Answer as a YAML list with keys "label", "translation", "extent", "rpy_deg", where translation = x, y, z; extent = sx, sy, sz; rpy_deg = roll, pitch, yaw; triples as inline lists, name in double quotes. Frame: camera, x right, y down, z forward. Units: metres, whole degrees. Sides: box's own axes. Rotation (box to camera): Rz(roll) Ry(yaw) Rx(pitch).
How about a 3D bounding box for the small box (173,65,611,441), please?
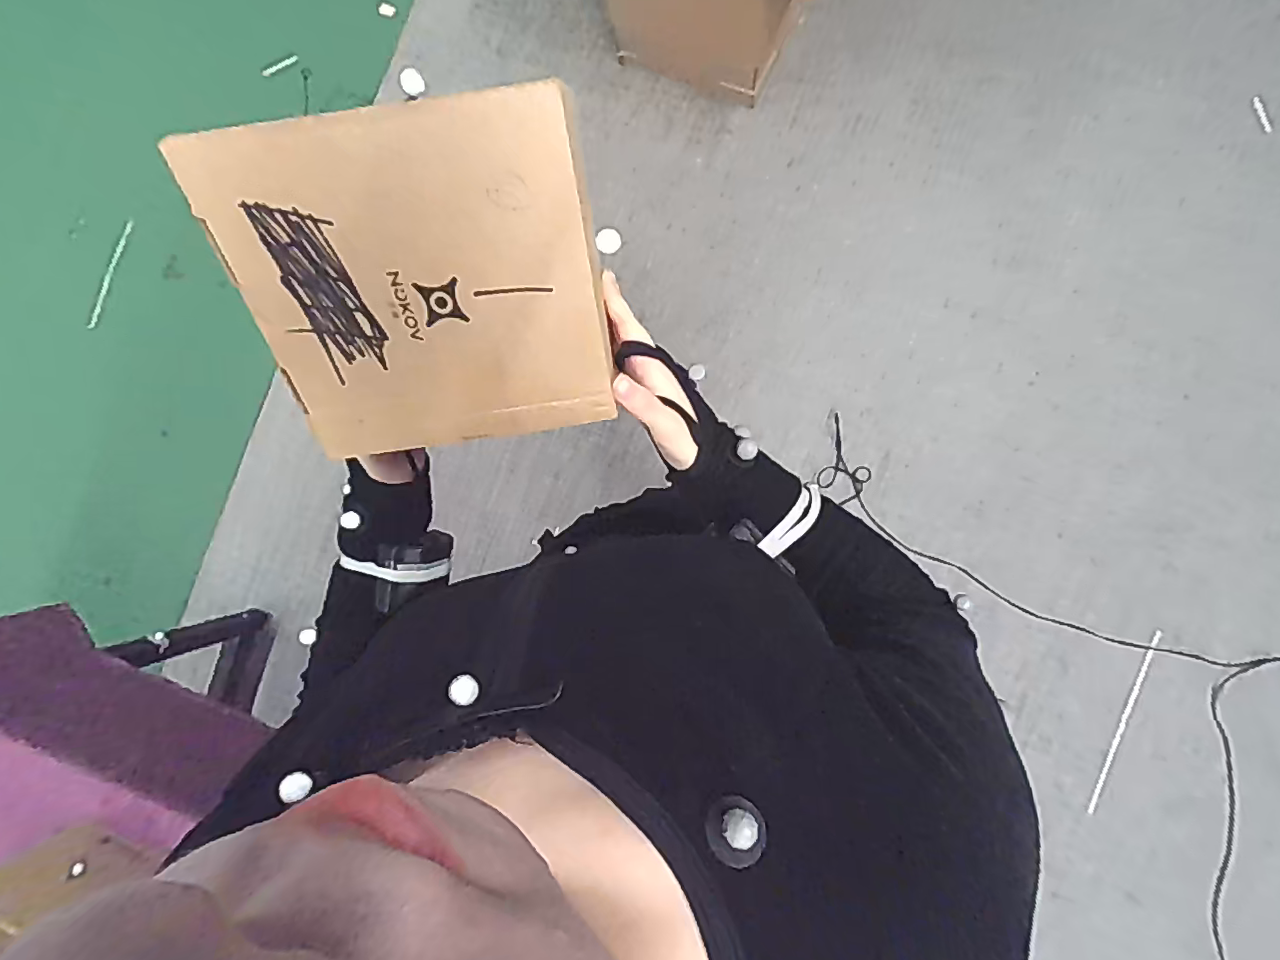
- label: "small box"
  translation: [-0.114, -0.145, 0.342]
  extent: [0.179, 0.176, 0.168]
  rpy_deg: [-8, 125, 1]
